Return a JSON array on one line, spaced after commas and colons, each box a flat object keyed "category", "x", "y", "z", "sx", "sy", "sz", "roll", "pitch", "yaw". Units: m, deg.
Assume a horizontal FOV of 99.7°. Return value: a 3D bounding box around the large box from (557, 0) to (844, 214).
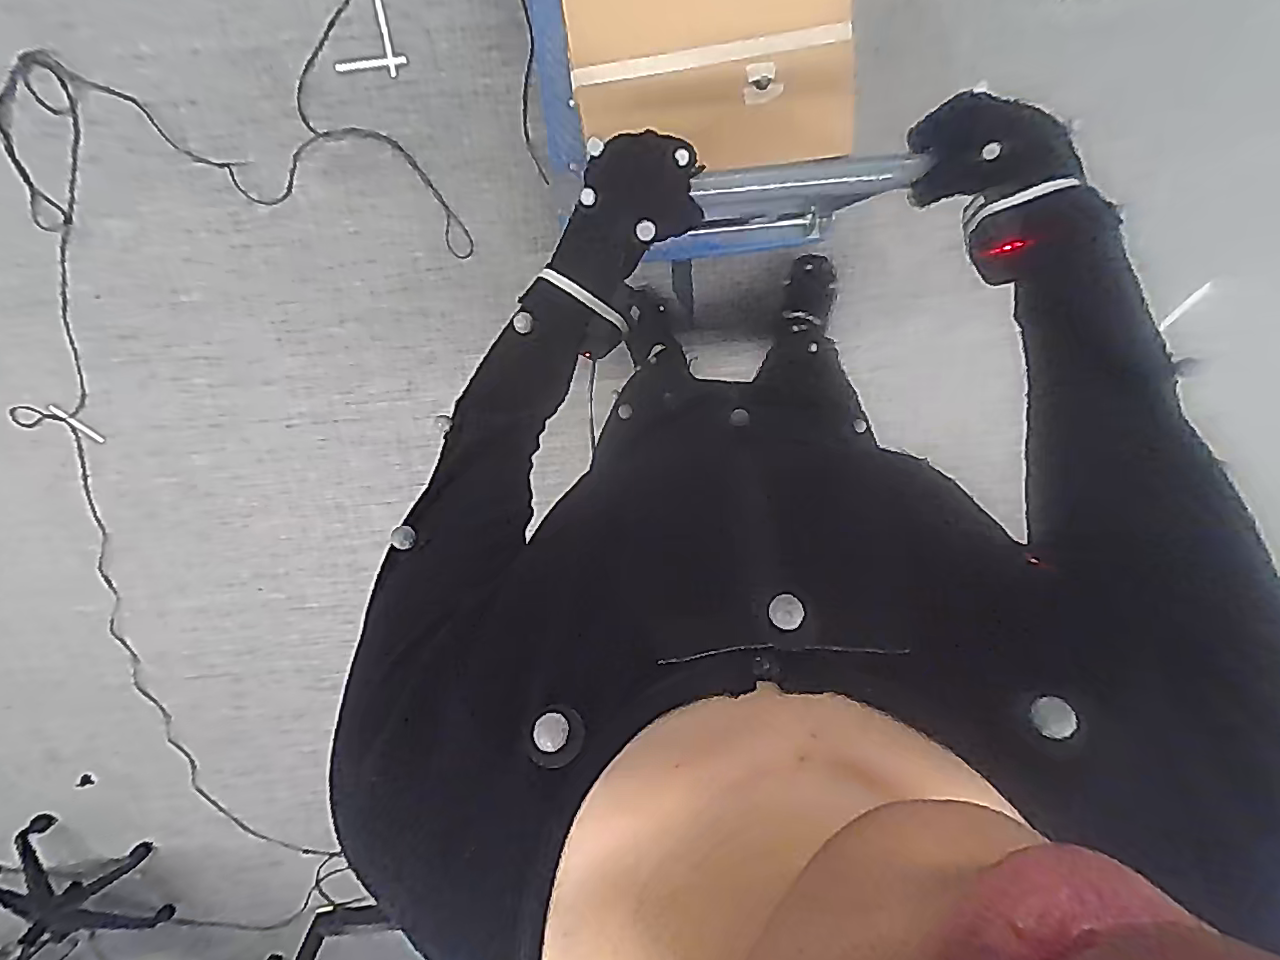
[{"category": "large box", "x": 0.090, "y": -0.674, "z": 0.931, "sx": 0.408, "sy": 0.320, "sz": 0.320, "roll": -10, "pitch": 112, "yaw": 0}]
